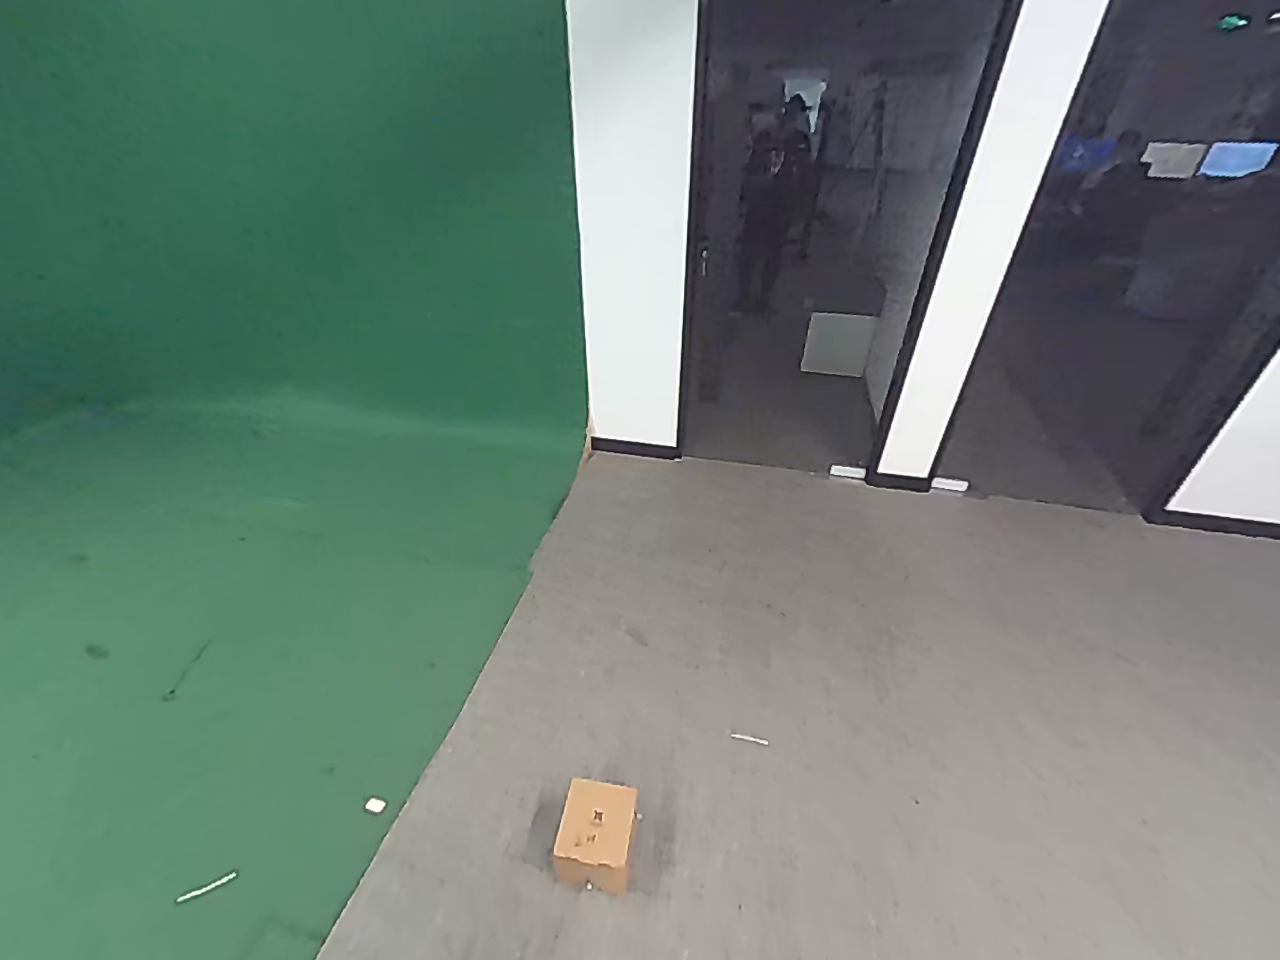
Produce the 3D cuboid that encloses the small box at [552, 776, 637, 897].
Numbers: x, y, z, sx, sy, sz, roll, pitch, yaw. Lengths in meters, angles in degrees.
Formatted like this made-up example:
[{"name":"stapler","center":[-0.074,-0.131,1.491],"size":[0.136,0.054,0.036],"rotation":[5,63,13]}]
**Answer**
[{"name":"small box","center":[-0.103,0.852,1.296],"size":[0.168,0.176,0.179],"rotation":[6,35,8]}]
